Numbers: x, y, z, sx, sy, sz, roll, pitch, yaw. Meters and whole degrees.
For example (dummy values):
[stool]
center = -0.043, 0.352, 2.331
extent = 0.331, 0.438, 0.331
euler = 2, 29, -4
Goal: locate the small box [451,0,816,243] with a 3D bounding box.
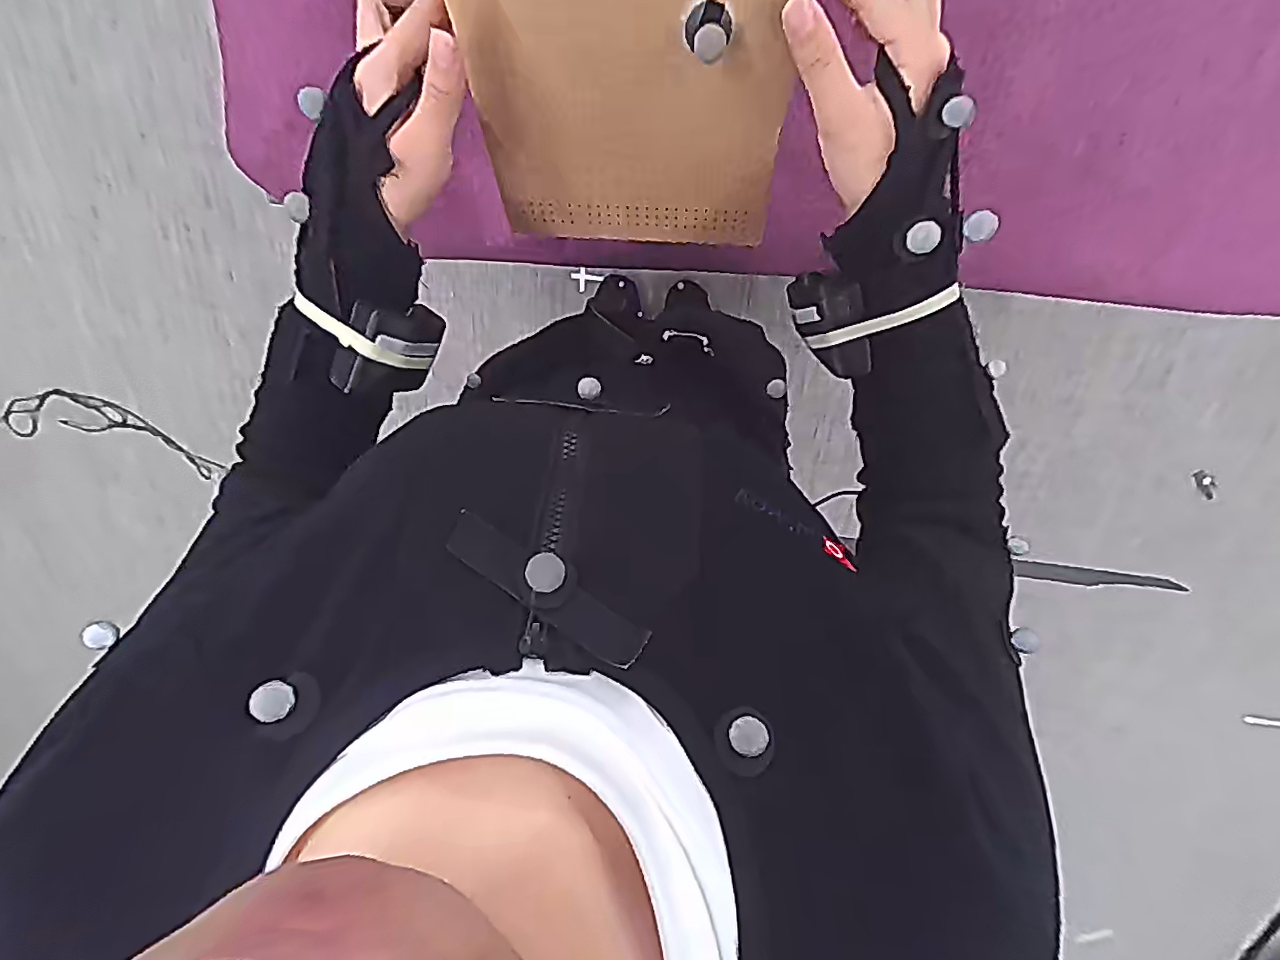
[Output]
[small box]
center = 0.004, -0.272, 0.335
extent = 0.179, 0.168, 0.176
euler = 5, 153, 4
